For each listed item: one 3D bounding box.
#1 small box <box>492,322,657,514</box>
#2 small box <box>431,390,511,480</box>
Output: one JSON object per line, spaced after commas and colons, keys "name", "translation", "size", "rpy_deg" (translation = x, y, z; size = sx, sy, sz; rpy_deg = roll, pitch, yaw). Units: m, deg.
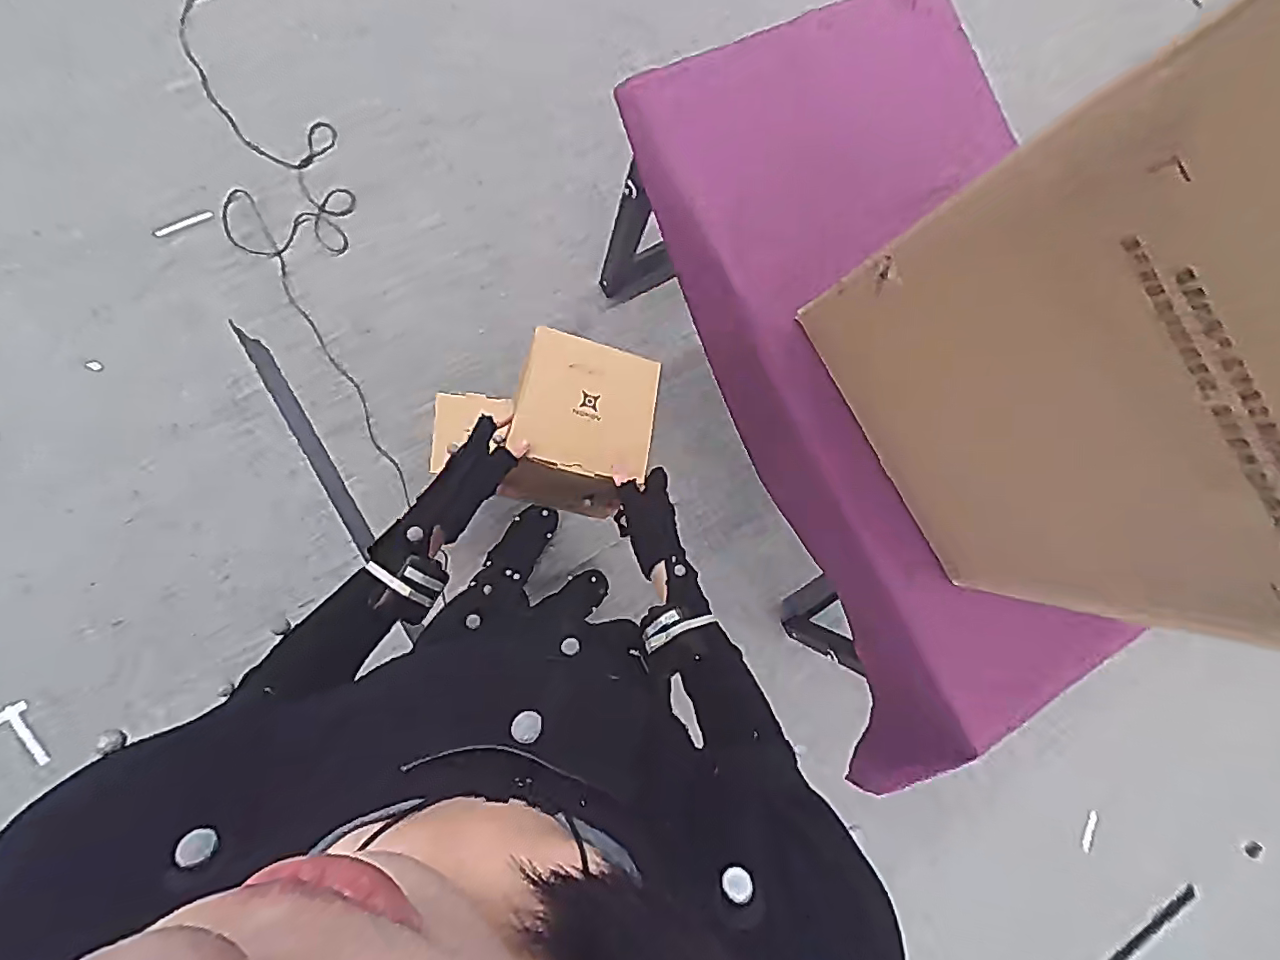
{"name": "small box", "translation": [-0.092, -0.068, 0.710], "size": [0.168, 0.176, 0.179], "rpy_deg": [15, 66, -17]}
{"name": "small box", "translation": [-0.369, -0.095, 1.231], "size": [0.168, 0.176, 0.179], "rpy_deg": [5, 87, -10]}
